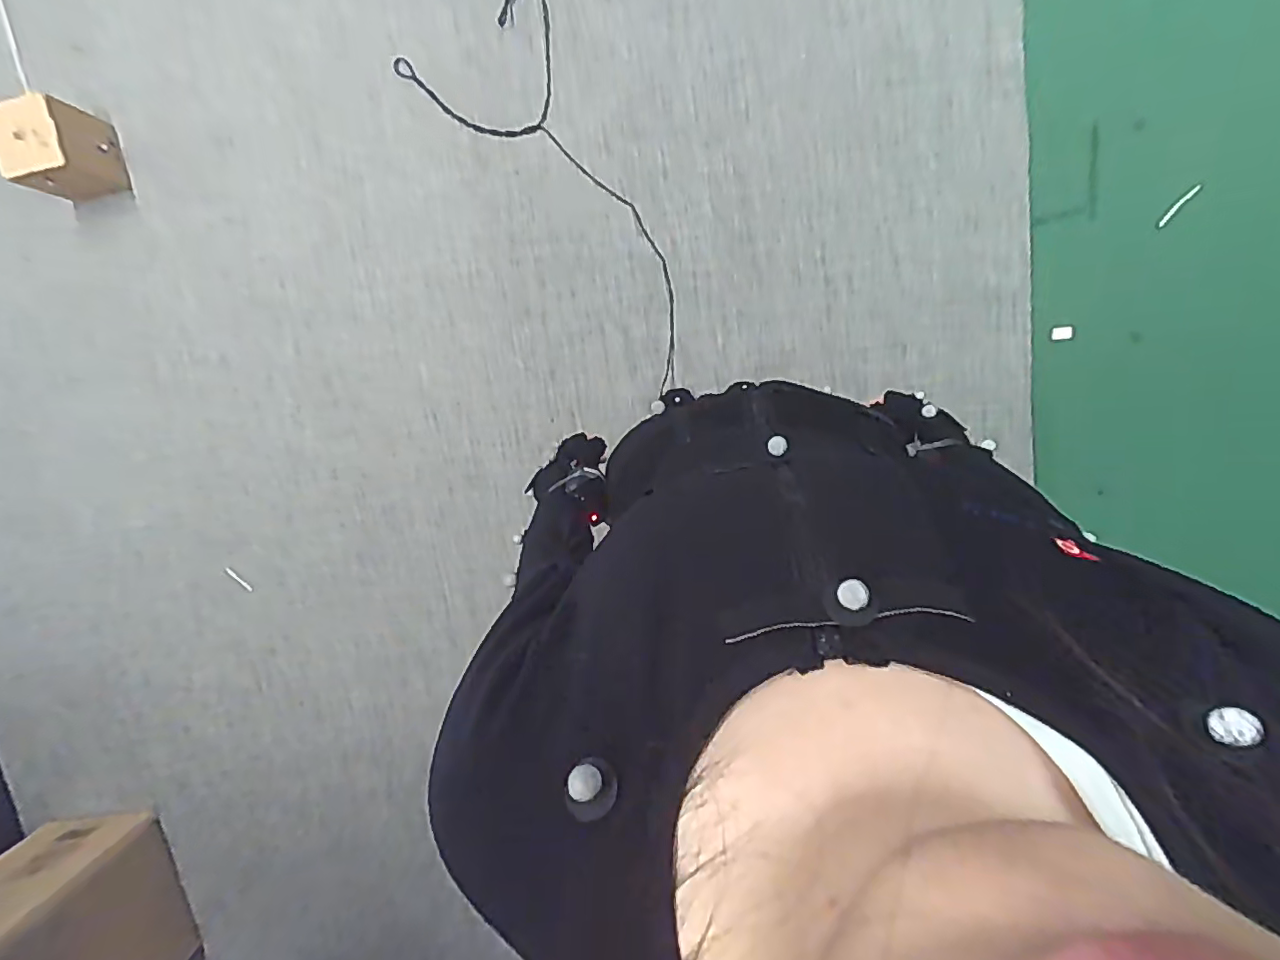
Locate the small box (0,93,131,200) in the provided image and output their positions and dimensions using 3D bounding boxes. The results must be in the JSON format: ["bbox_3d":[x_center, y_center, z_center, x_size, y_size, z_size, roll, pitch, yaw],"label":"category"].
[{"bbox_3d":[-1.468,-0.833,1.371,0.179,0.176,0.168,-9,100,5],"label":"small box"}]
